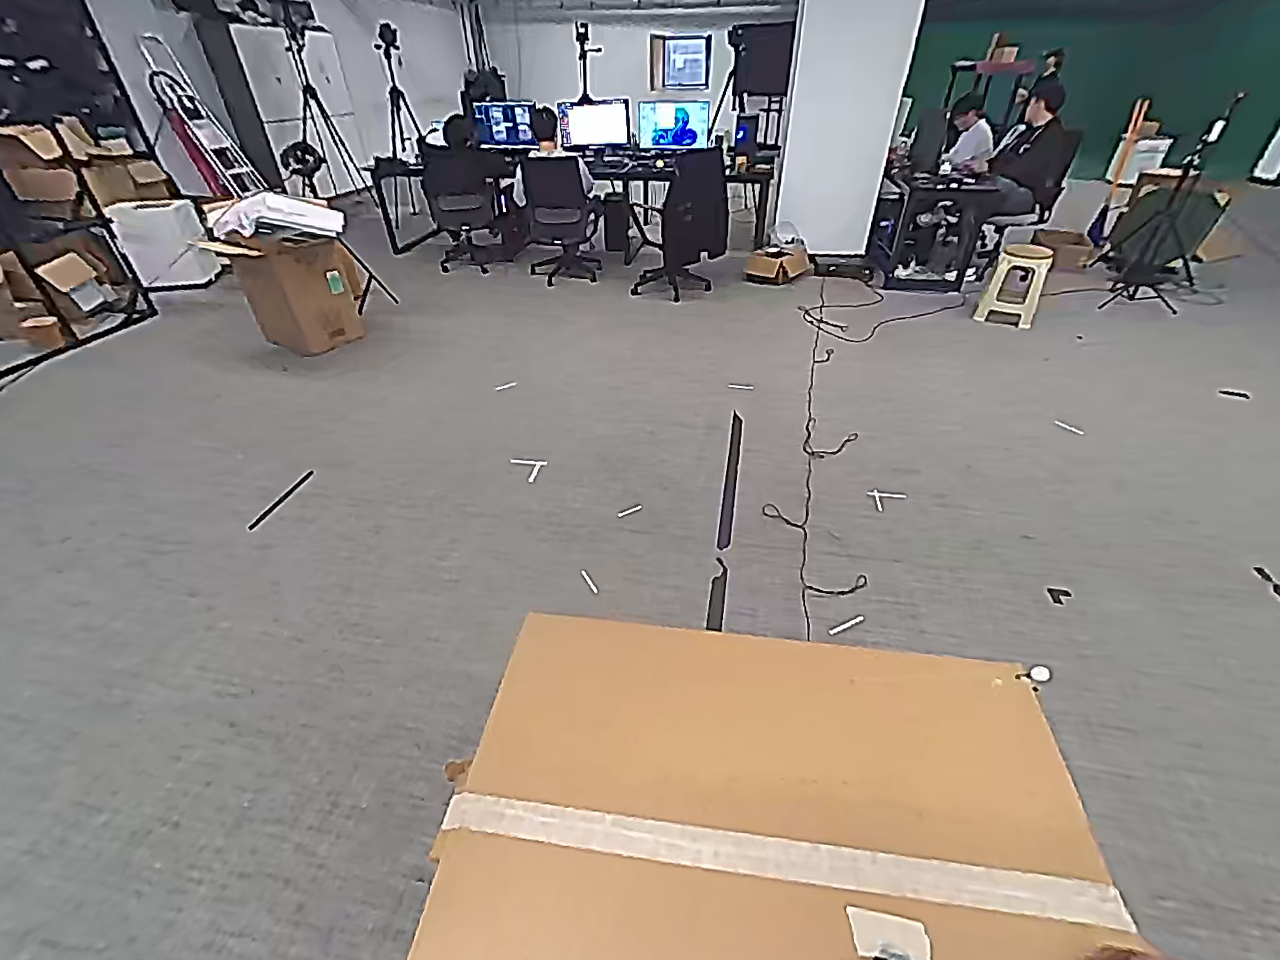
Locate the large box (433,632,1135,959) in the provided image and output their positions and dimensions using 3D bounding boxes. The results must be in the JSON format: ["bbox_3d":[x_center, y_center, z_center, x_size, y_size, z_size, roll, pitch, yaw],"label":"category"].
[{"bbox_3d":[0.086,0.355,0.440,0.408,0.320,0.320,4,43,6],"label":"large box"}]
